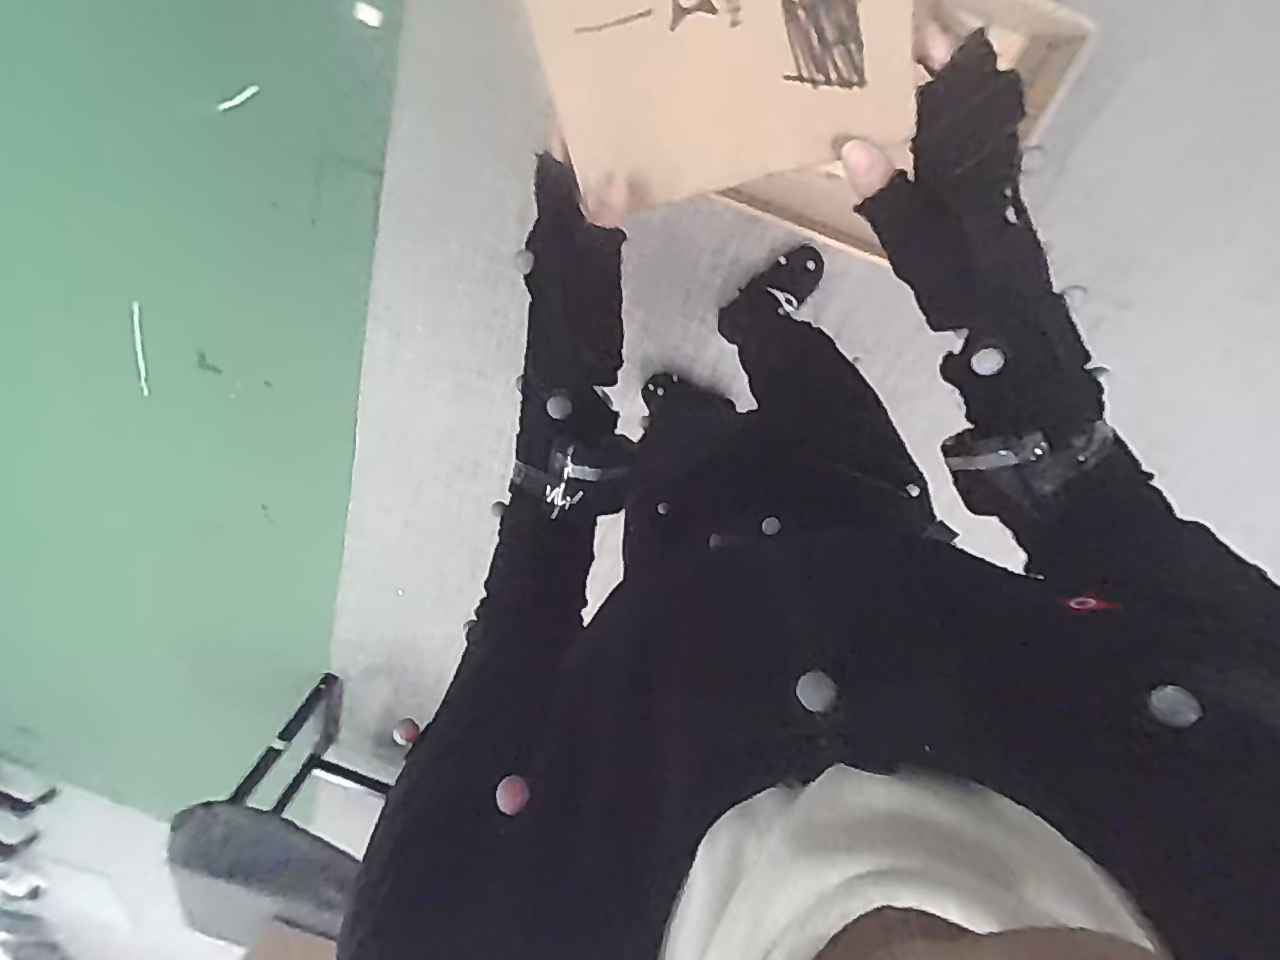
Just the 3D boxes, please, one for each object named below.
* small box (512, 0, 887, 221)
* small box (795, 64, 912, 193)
[{"bbox_3d":[0.040,-0.279,0.319,0.179,0.176,0.168,-4,128,19],"label":"small box"},{"bbox_3d":[0.338,-0.630,0.953,0.168,0.176,0.179,20,121,-2],"label":"small box"}]
